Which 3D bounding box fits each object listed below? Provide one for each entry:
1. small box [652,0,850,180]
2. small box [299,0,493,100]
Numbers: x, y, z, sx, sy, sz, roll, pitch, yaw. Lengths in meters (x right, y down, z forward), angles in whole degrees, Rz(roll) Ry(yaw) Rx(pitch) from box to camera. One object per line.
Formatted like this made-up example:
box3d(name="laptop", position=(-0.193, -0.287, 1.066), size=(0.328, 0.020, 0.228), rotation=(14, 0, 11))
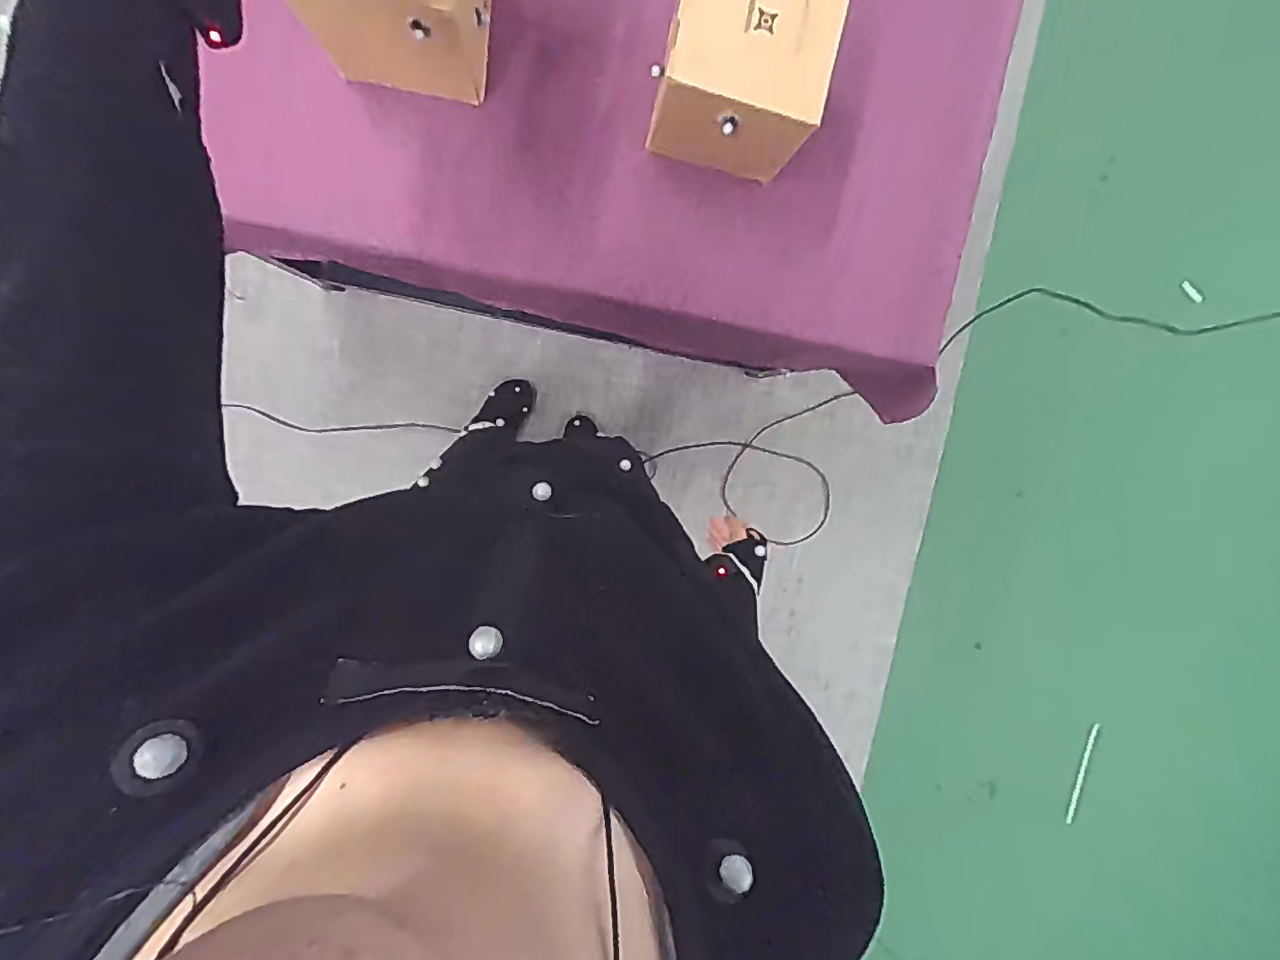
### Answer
box3d(name="small box", position=(0.120, -0.491, 0.647), size=(0.179, 0.176, 0.168), rotation=(12, 97, -9))
box3d(name="small box", position=(-0.267, -0.558, 0.594), size=(0.179, 0.176, 0.168), rotation=(5, 97, -8))
